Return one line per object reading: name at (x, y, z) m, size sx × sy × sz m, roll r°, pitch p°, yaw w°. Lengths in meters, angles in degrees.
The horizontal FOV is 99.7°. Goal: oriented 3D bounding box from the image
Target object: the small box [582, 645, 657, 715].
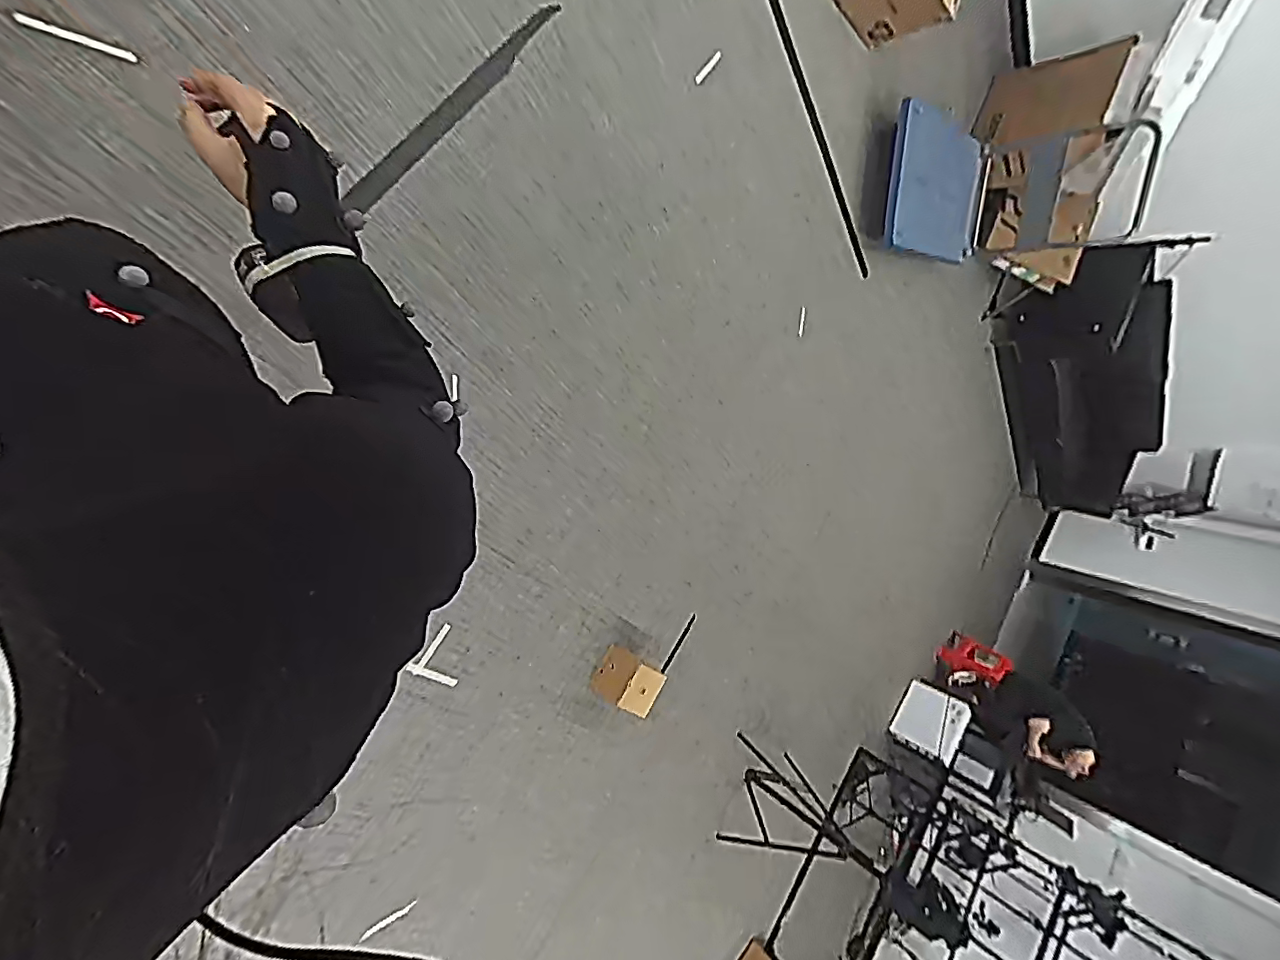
small box at (-0.078, 0.733, 1.992) m, size 0.179 × 0.176 × 0.168 m, roll 43°, pitch 73°, yaw -40°
